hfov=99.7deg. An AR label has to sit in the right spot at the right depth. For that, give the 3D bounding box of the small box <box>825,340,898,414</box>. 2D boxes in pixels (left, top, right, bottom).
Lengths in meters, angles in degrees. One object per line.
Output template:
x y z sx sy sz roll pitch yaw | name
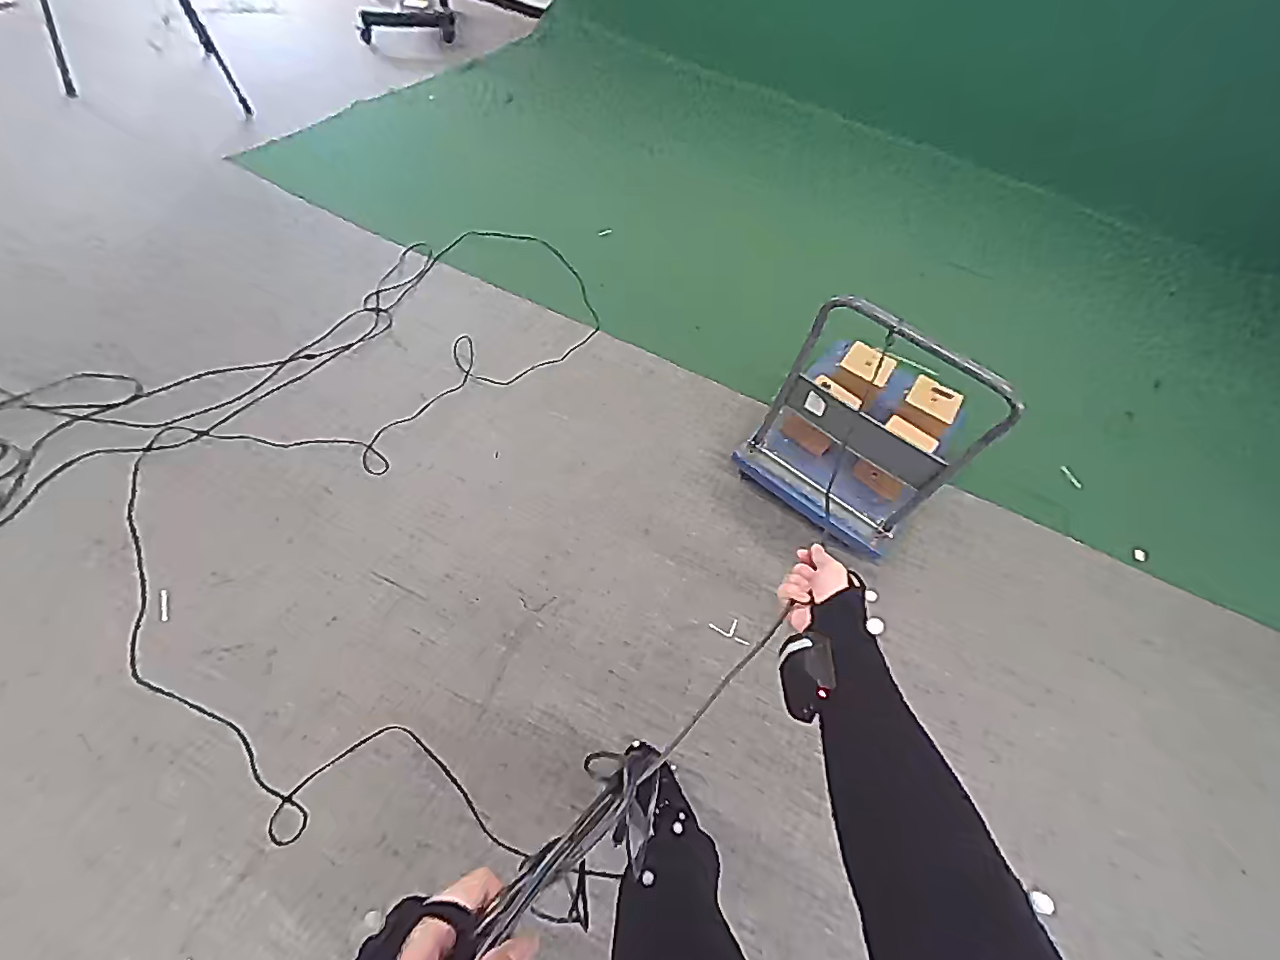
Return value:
0.806 -0.374 1.987 0.168 0.176 0.179 34 57 13 | small box

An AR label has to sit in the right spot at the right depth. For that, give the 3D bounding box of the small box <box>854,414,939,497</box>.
0.843 -0.078 1.792 0.168 0.176 0.179 37 59 16 | small box

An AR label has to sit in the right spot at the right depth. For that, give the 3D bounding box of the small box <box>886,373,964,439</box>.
1.011 -0.240 1.929 0.168 0.176 0.179 33 58 14 | small box
